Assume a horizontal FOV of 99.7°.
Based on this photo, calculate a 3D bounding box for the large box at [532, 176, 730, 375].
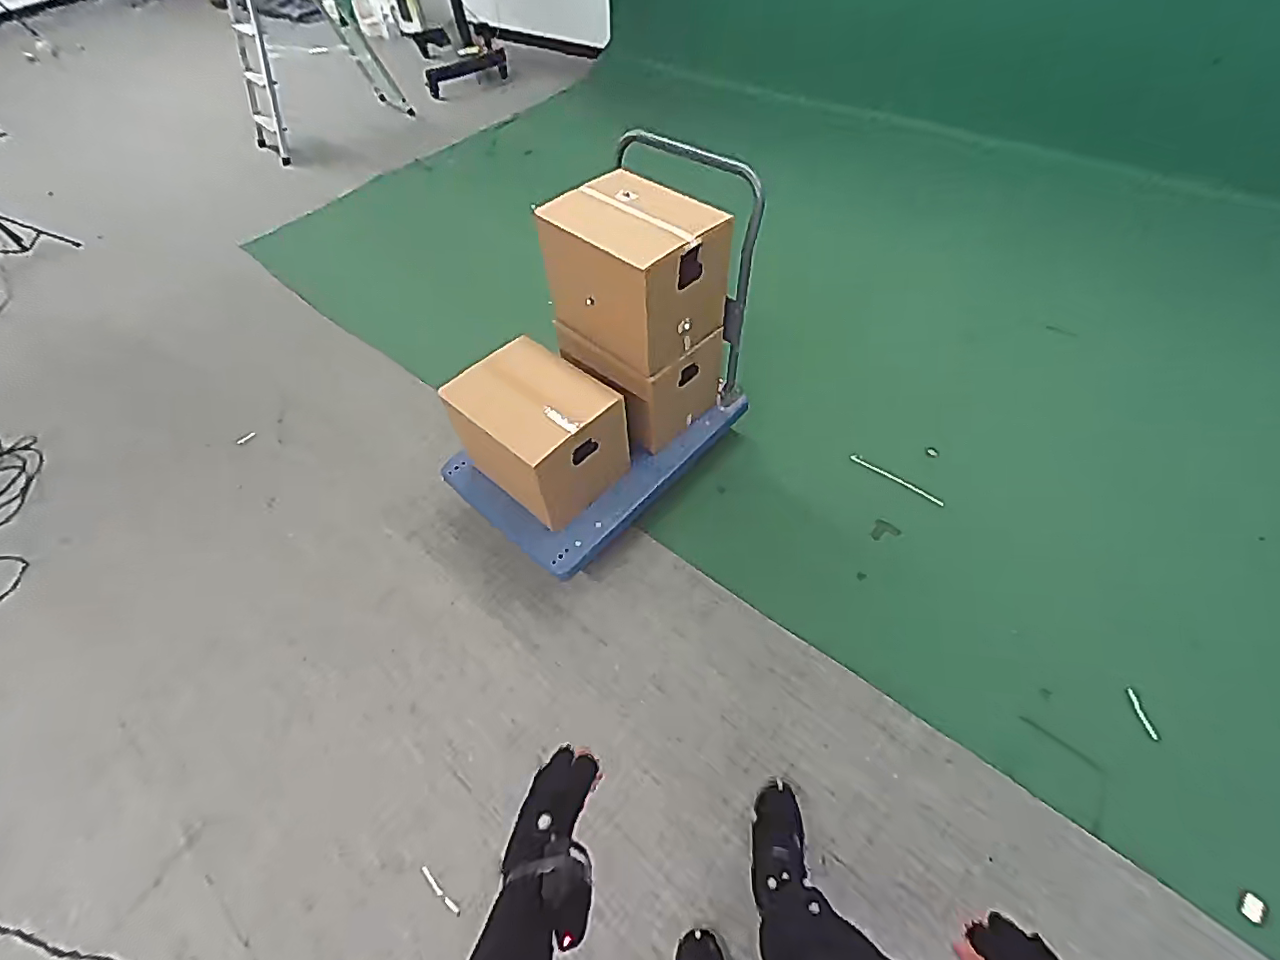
[{"bbox_3d":[-0.015,-0.547,1.439,0.320,0.320,0.408,-39,59,-24],"label":"large box"}]
